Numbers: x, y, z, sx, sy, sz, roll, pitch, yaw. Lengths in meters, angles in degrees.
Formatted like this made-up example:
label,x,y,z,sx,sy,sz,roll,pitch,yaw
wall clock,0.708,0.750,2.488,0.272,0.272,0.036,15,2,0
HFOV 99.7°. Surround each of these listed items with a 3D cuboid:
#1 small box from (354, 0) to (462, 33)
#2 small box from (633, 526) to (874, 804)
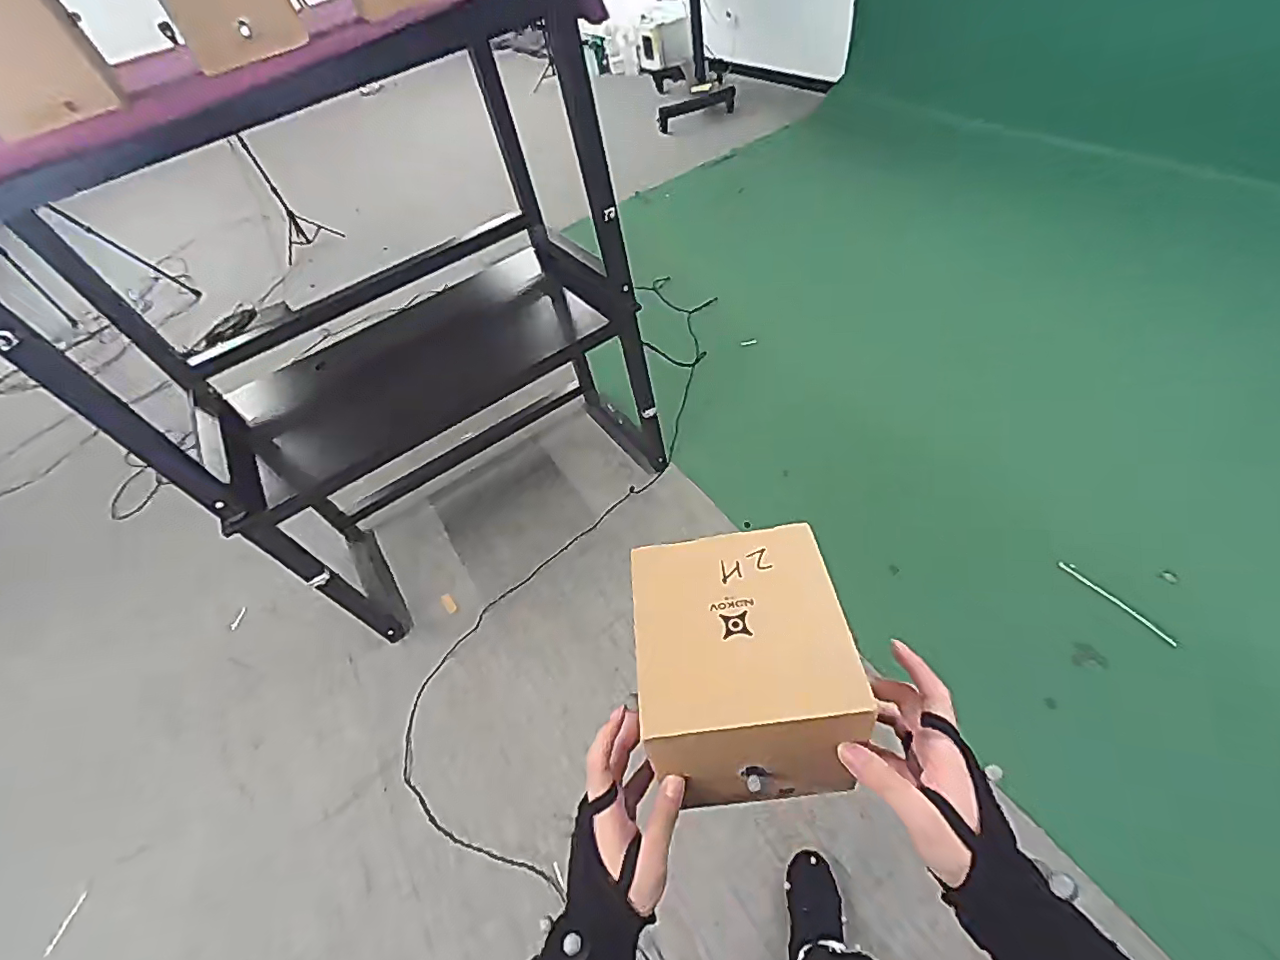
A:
label,x,y,z,sx,sy,sz,roll,pitch,yaw
small box,-0.440,-0.921,0.955,0.168,0.176,0.179,-29,50,-11
small box,0.090,0.169,0.481,0.168,0.176,0.179,-8,42,5
